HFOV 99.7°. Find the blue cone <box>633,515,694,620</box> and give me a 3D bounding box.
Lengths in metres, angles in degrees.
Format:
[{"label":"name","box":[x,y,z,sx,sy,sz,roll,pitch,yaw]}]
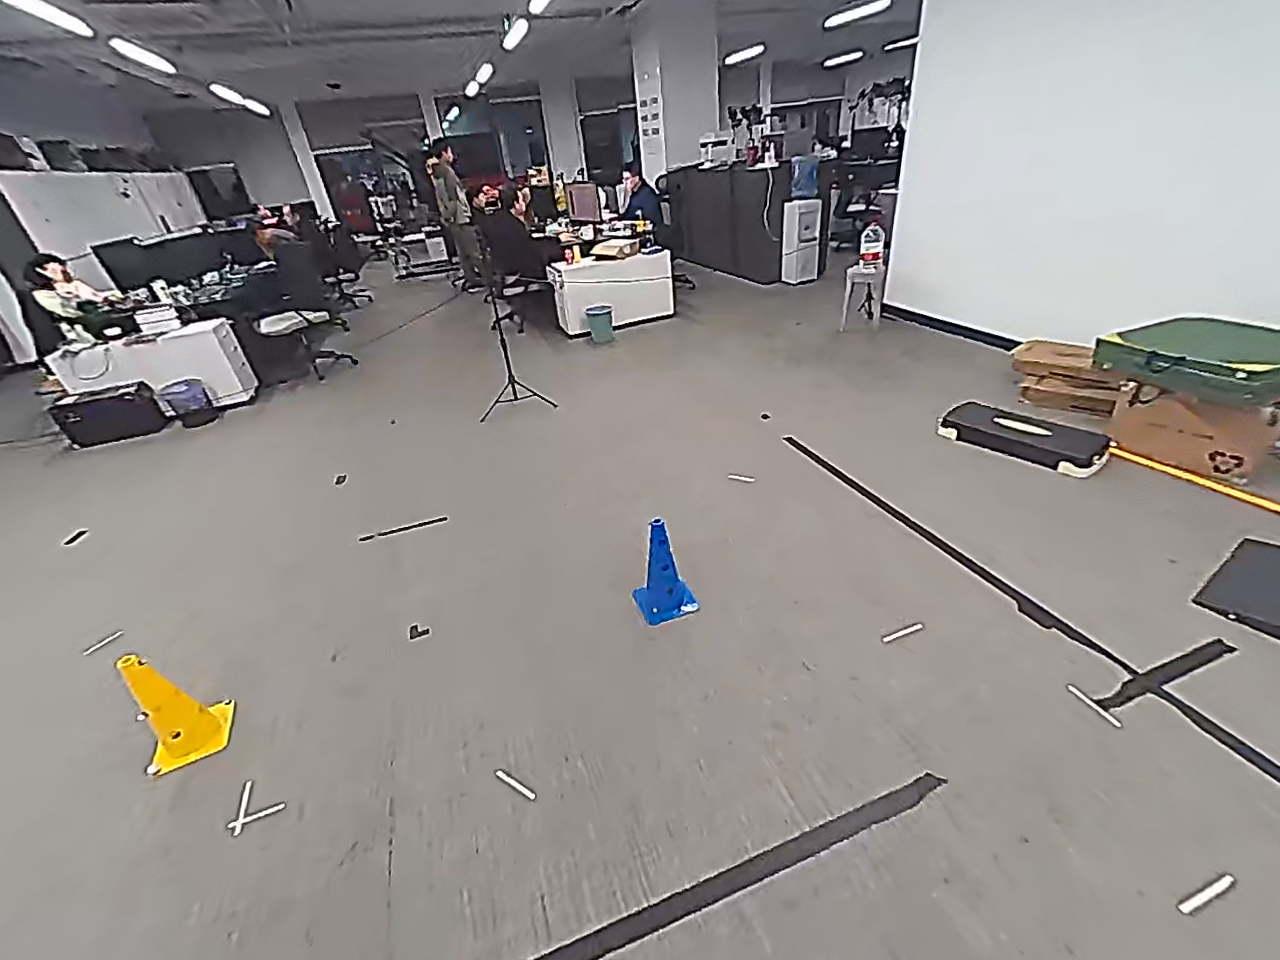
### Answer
[{"label":"blue cone","box":[0.069,0.289,1.888,0.193,0.380,0.192,-15,31,-13]}]
